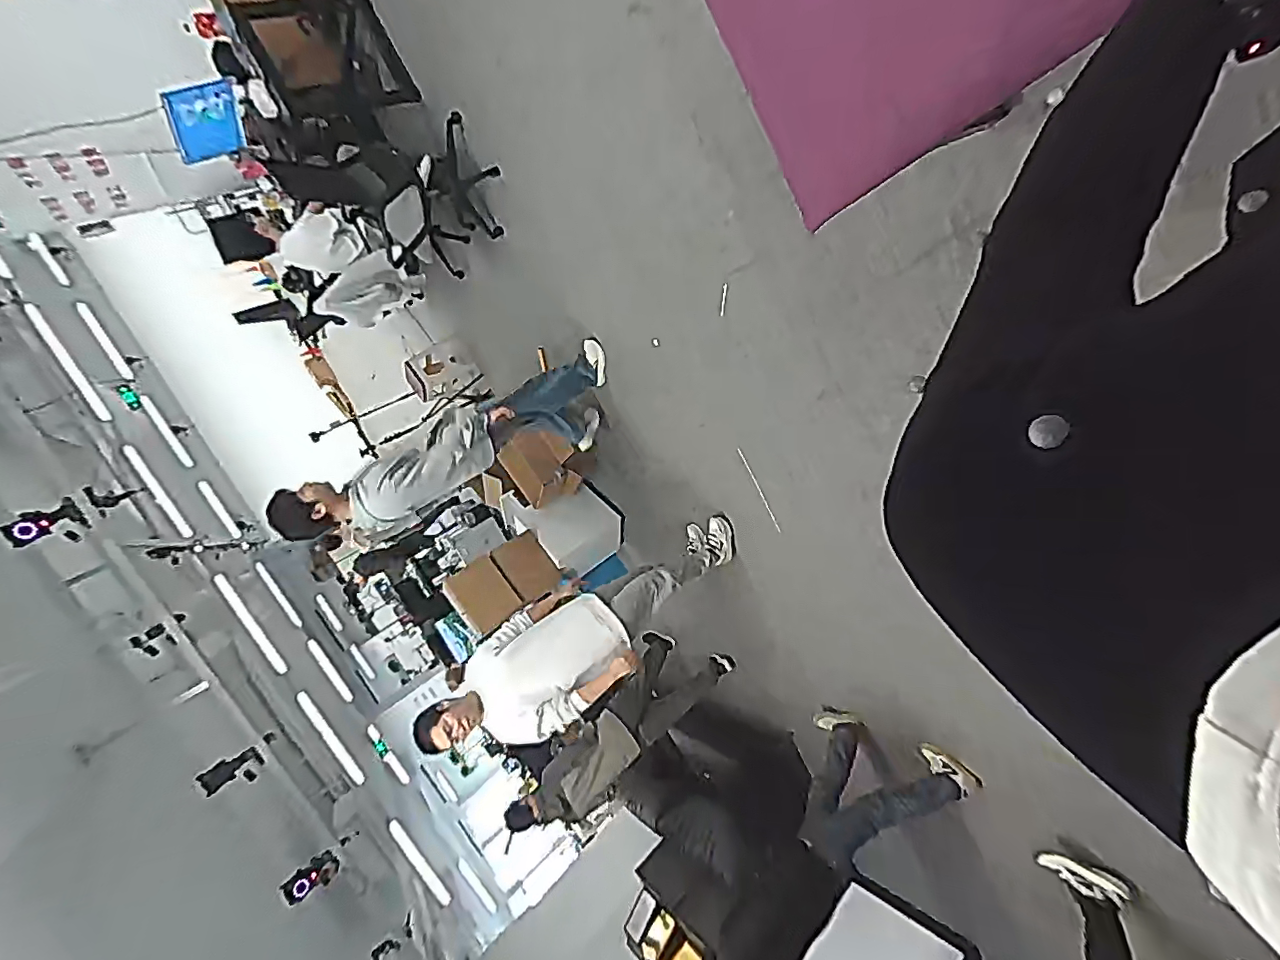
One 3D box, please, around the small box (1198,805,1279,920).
[{"bbox_3d":[1.609,0.992,1.405,0.179,0.176,0.168,-11,109,58],"label":"small box"}]
